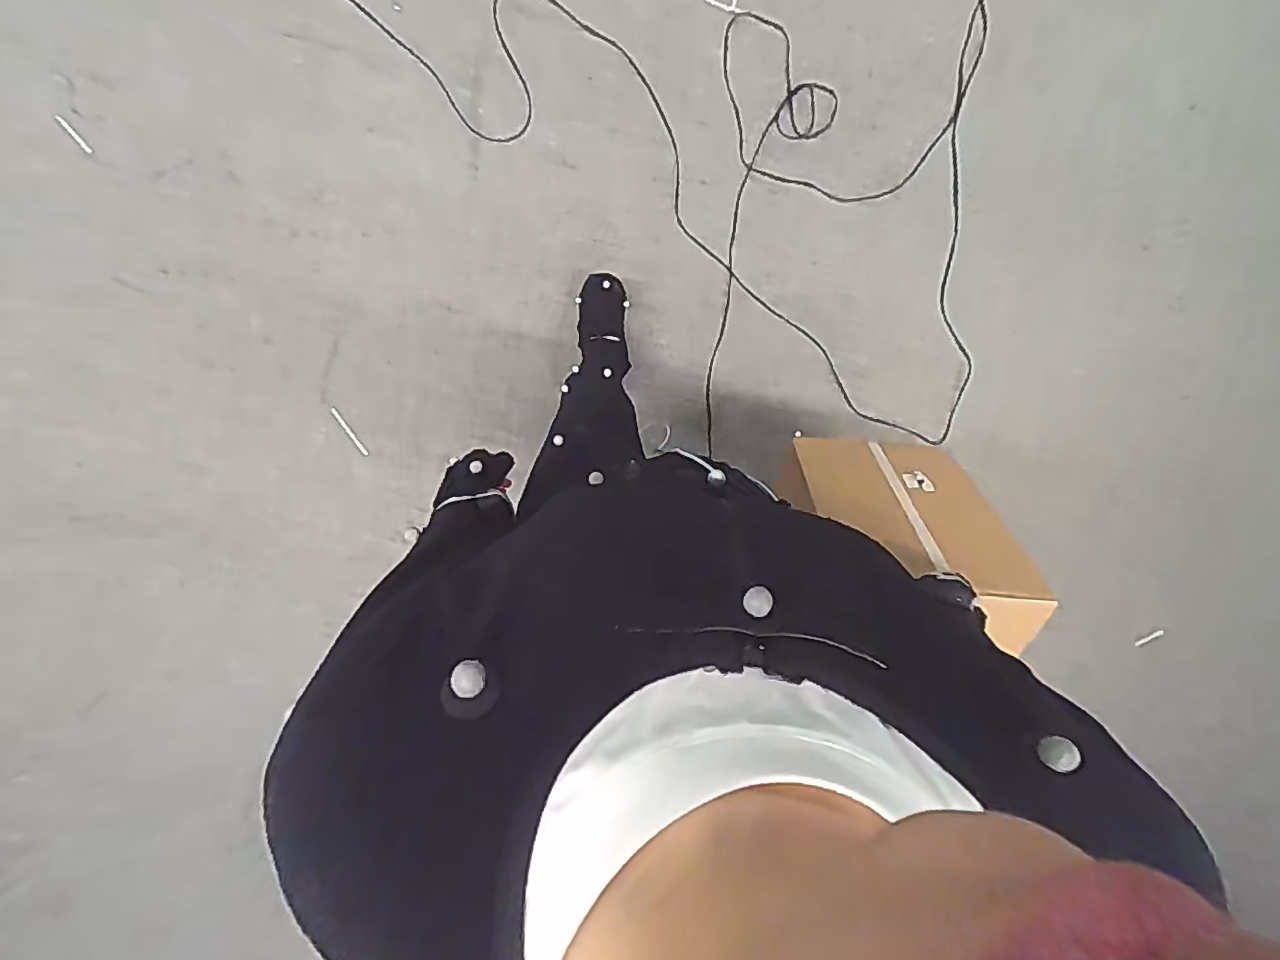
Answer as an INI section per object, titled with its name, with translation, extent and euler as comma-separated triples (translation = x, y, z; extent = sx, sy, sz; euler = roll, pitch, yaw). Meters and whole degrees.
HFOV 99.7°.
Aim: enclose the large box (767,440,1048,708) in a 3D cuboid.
[large box]
translation = 0.441, 0.163, 1.022
extent = 0.320, 0.408, 0.320
euler = 4, 125, 1
